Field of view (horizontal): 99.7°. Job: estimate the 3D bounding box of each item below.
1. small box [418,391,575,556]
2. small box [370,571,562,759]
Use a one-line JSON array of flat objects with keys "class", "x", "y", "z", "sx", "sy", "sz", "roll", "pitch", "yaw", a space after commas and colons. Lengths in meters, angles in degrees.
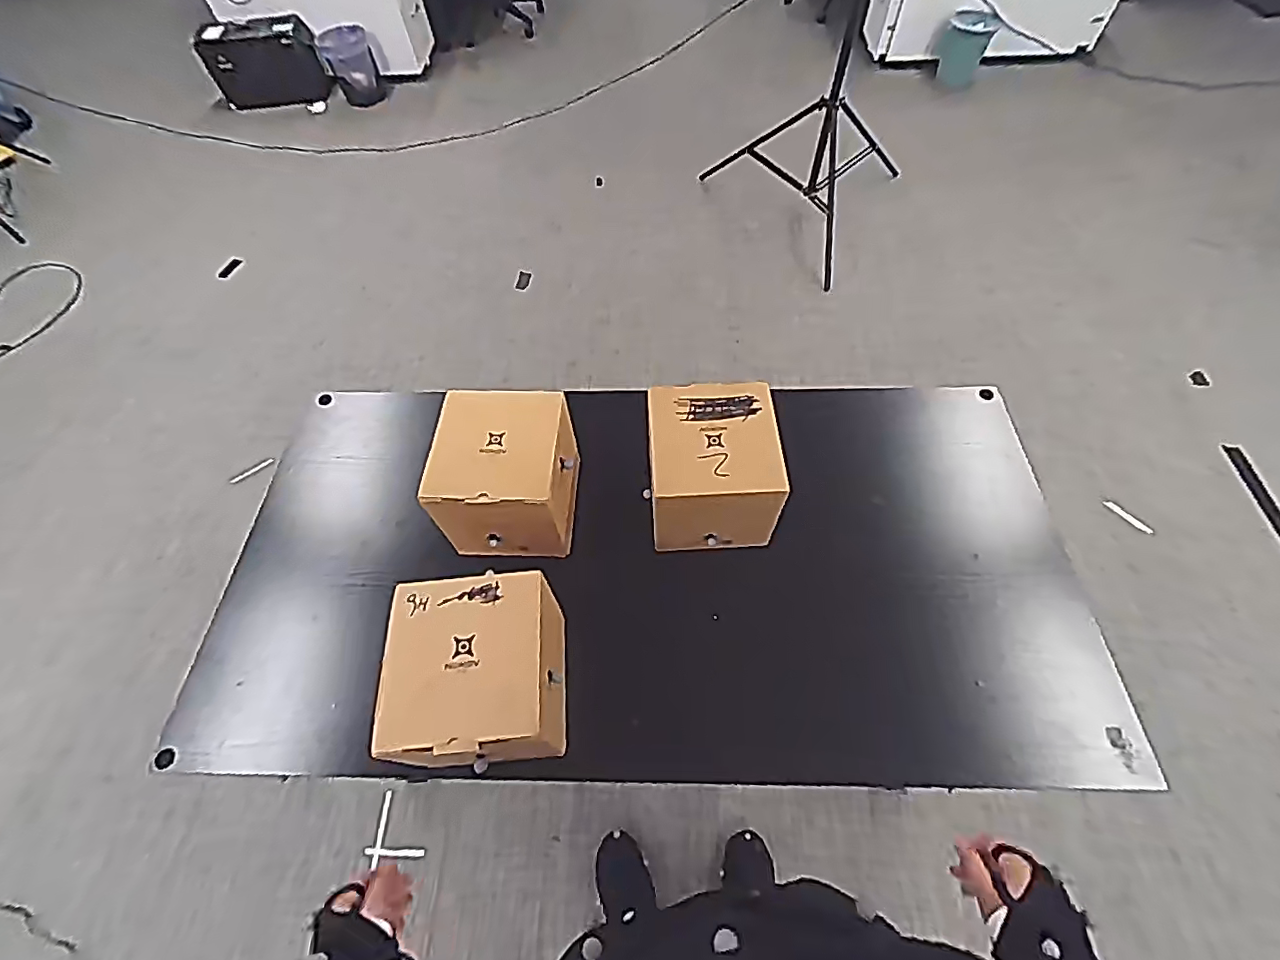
[{"class": "small box", "x": -0.190, "y": -0.007, "z": 0.778, "sx": 0.168, "sy": 0.176, "sz": 0.179, "roll": 1, "pitch": 59, "yaw": 3}, {"class": "small box", "x": -0.186, "y": 0.224, "z": 0.635, "sx": 0.168, "sy": 0.176, "sz": 0.179, "roll": -5, "pitch": 59, "yaw": -1}]
